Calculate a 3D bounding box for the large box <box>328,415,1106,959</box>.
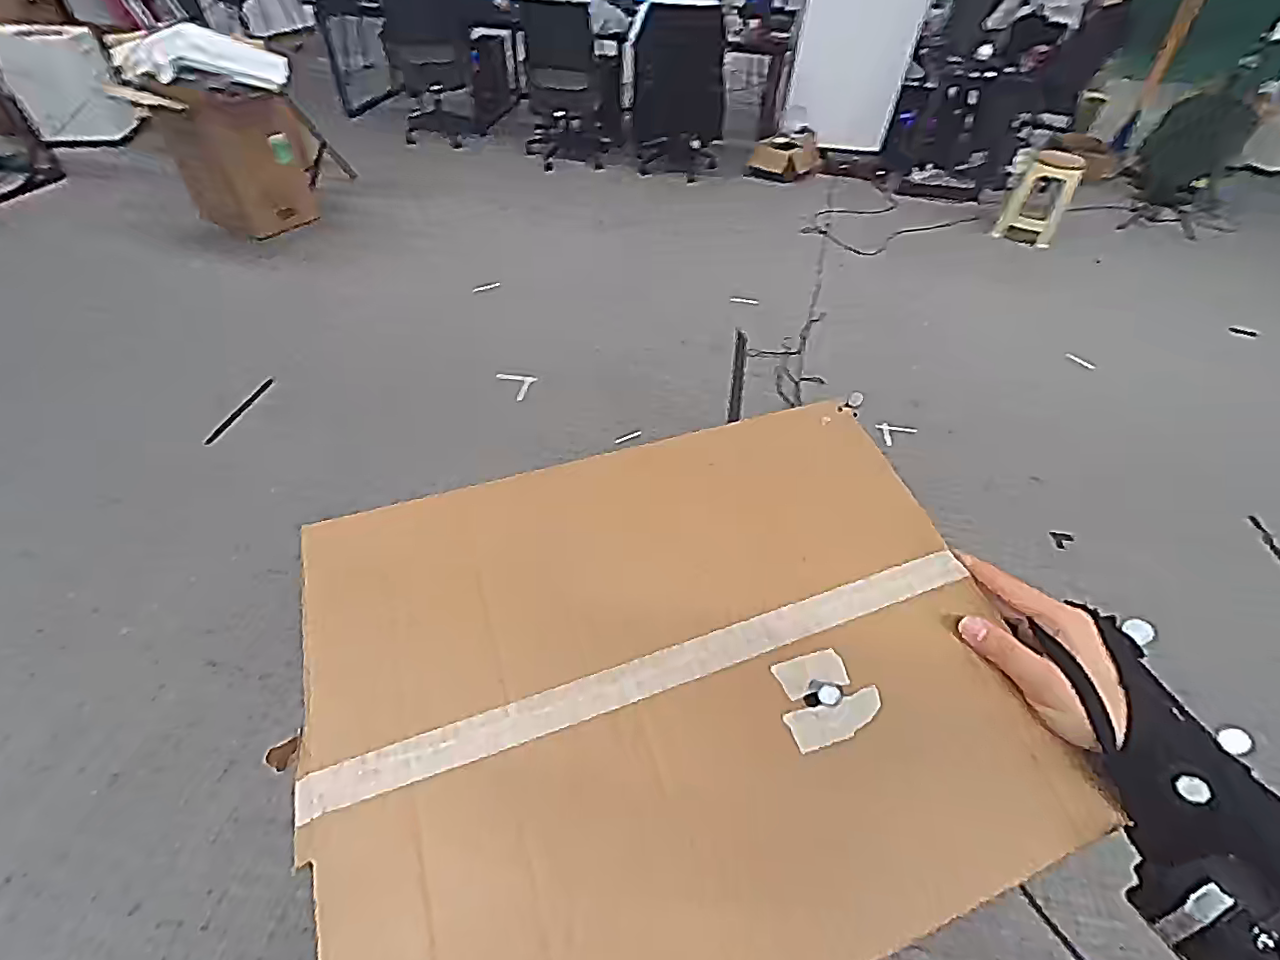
[{"bbox_3d":[0.018,0.196,0.453,0.408,0.320,0.320,-14,61,-15],"label":"large box"}]
